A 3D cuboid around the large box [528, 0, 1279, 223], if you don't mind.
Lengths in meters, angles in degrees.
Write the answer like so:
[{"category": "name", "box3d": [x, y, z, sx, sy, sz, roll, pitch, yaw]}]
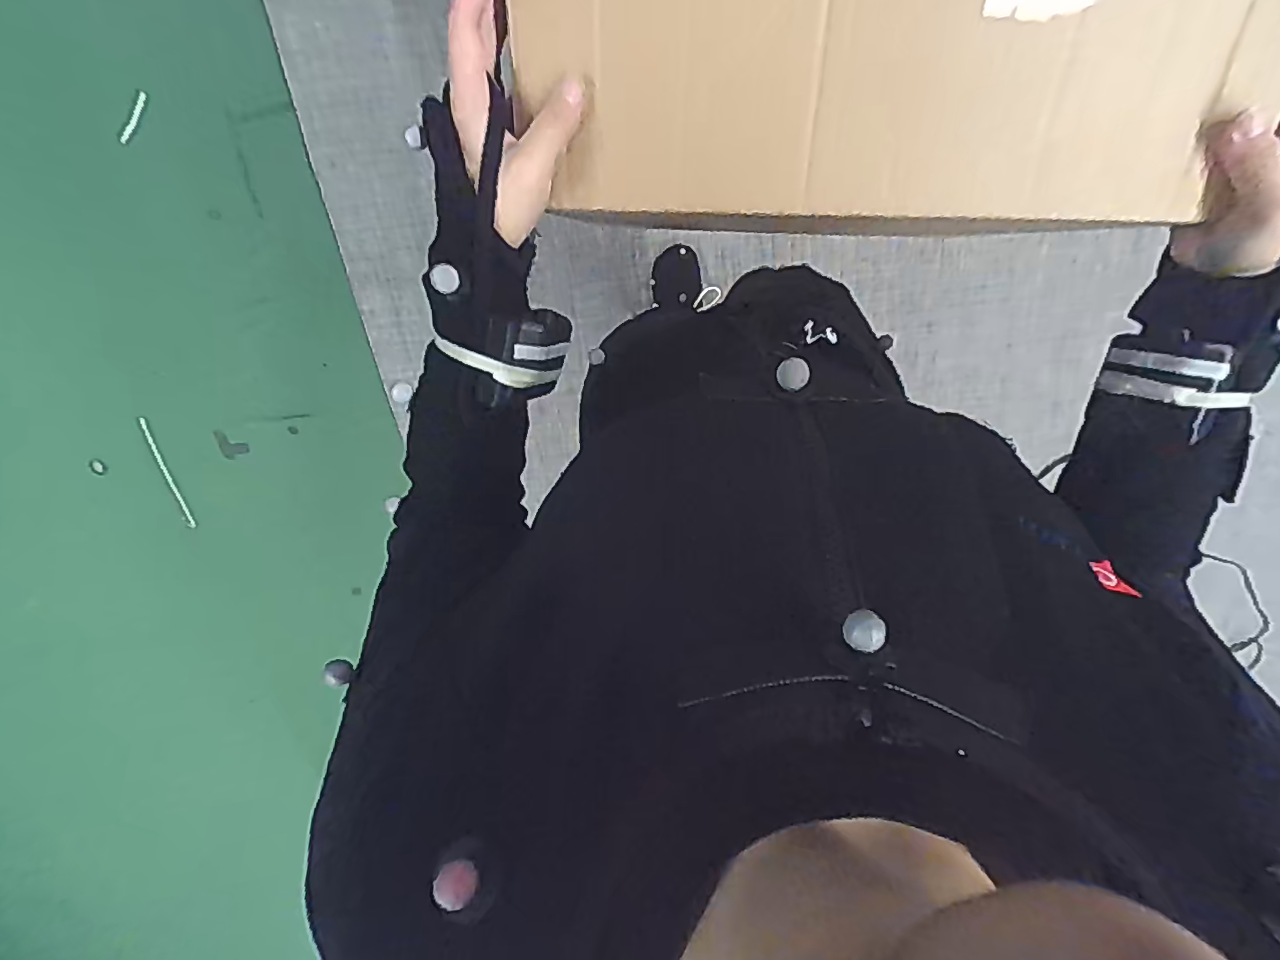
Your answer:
[{"category": "large box", "box3d": [0.142, -0.369, 0.396, 0.408, 0.320, 0.320, 2, 114, 2]}]
